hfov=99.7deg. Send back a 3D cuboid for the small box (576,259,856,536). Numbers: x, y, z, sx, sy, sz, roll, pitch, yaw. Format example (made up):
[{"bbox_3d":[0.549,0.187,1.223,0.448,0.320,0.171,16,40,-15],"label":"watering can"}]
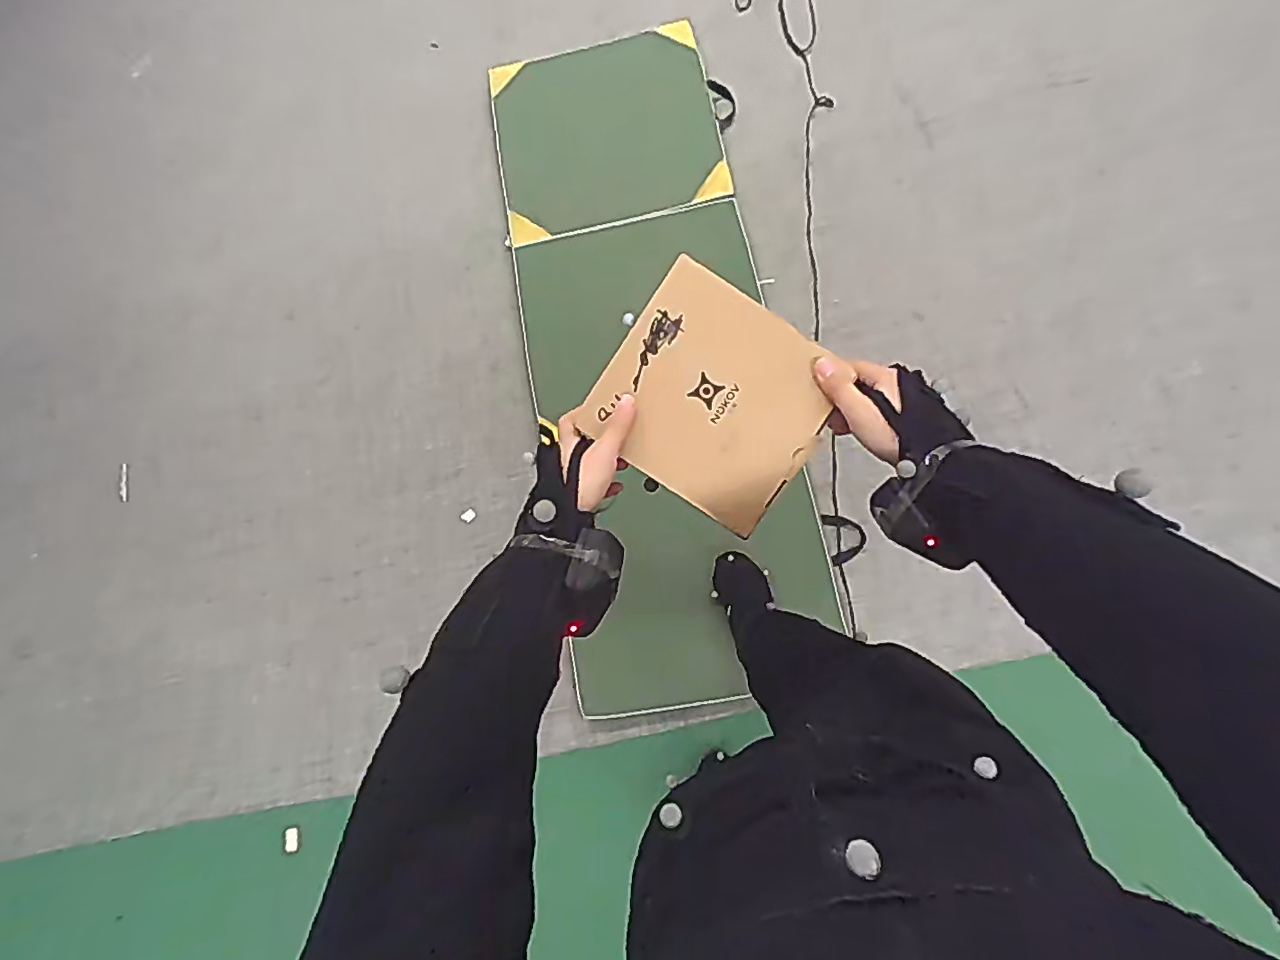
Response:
[{"bbox_3d":[0.063,-0.072,0.522,0.179,0.176,0.168,34,93,-1],"label":"small box"}]
